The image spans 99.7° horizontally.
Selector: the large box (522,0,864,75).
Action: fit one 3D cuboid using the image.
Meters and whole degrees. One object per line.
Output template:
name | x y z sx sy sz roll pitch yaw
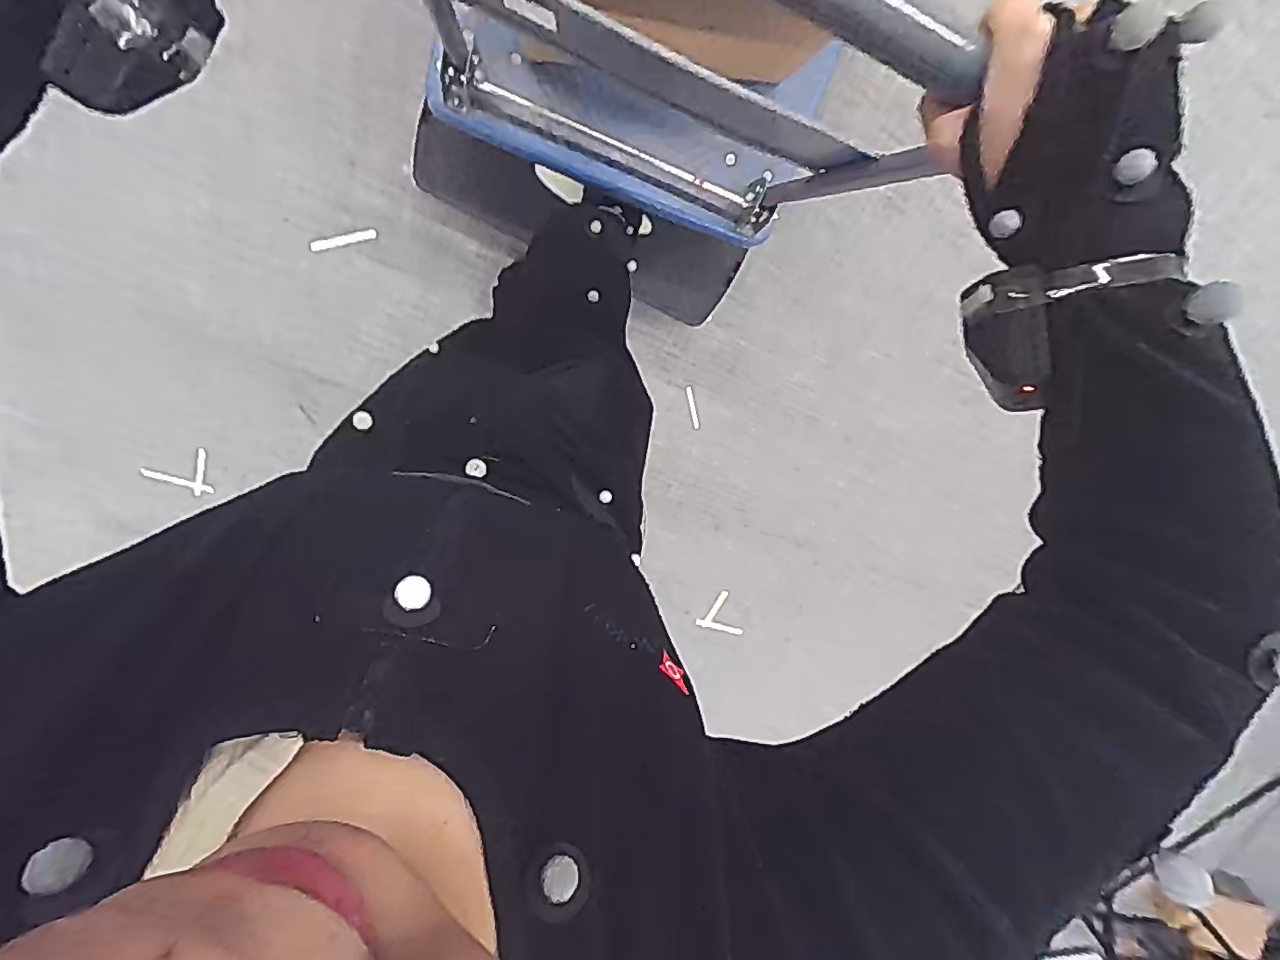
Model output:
large box | 0.055 -0.720 0.633 0.408 0.320 0.320 -4 110 -11
